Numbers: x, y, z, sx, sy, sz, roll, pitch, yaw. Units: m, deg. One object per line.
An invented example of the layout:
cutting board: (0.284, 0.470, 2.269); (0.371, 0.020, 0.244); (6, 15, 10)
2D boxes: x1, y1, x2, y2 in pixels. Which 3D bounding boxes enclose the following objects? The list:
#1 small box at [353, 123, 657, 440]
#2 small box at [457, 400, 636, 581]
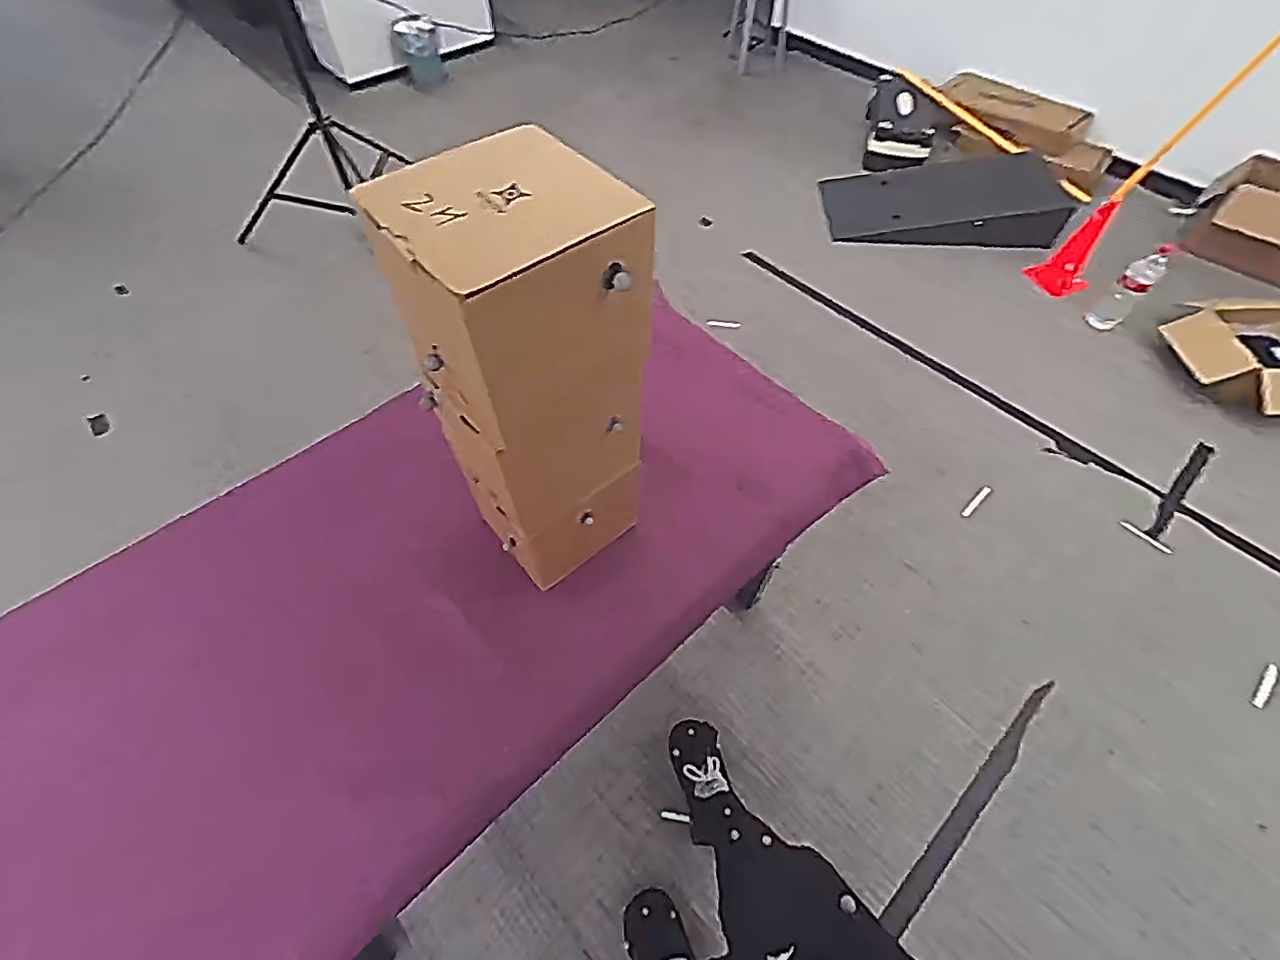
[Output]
small box: (-0.106, -0.171, 0.479); (0.179, 0.176, 0.168); (-36, 64, -21)
small box: (-0.119, 0.011, 0.754); (0.179, 0.176, 0.168); (-35, 65, -22)
